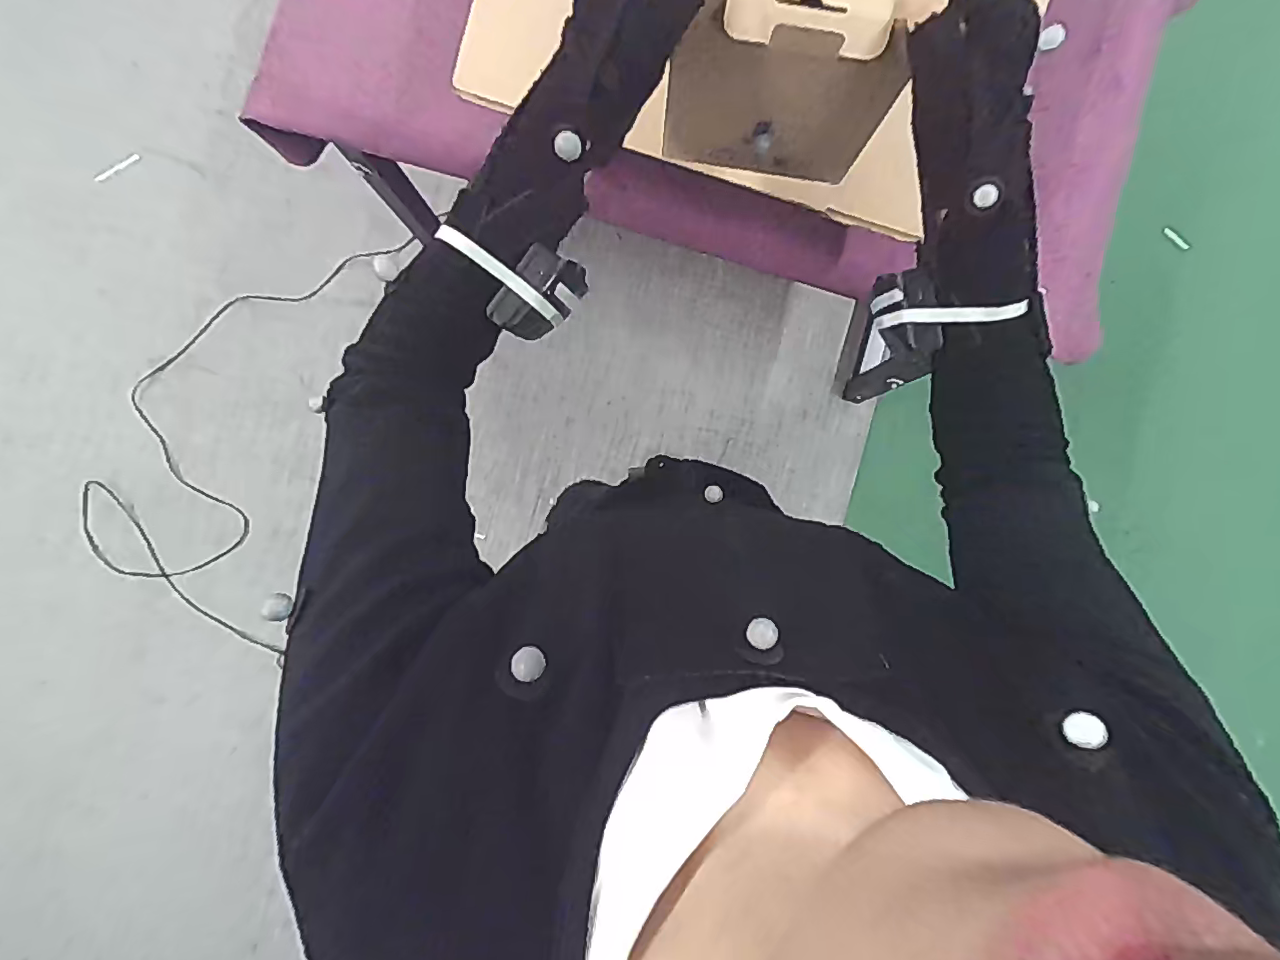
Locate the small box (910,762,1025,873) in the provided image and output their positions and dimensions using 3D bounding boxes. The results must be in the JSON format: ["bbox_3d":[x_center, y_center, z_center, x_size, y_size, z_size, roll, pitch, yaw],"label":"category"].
[{"bbox_3d":[0.828,0.857,1.388,0.179,0.176,0.168,17,88,1],"label":"small box"}]

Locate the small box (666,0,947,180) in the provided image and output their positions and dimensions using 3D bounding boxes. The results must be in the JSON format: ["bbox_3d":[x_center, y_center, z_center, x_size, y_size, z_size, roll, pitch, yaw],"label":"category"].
[{"bbox_3d":[0.116,-0.370,0.411,0.168,0.176,0.179,9,89,-1],"label":"small box"}]
